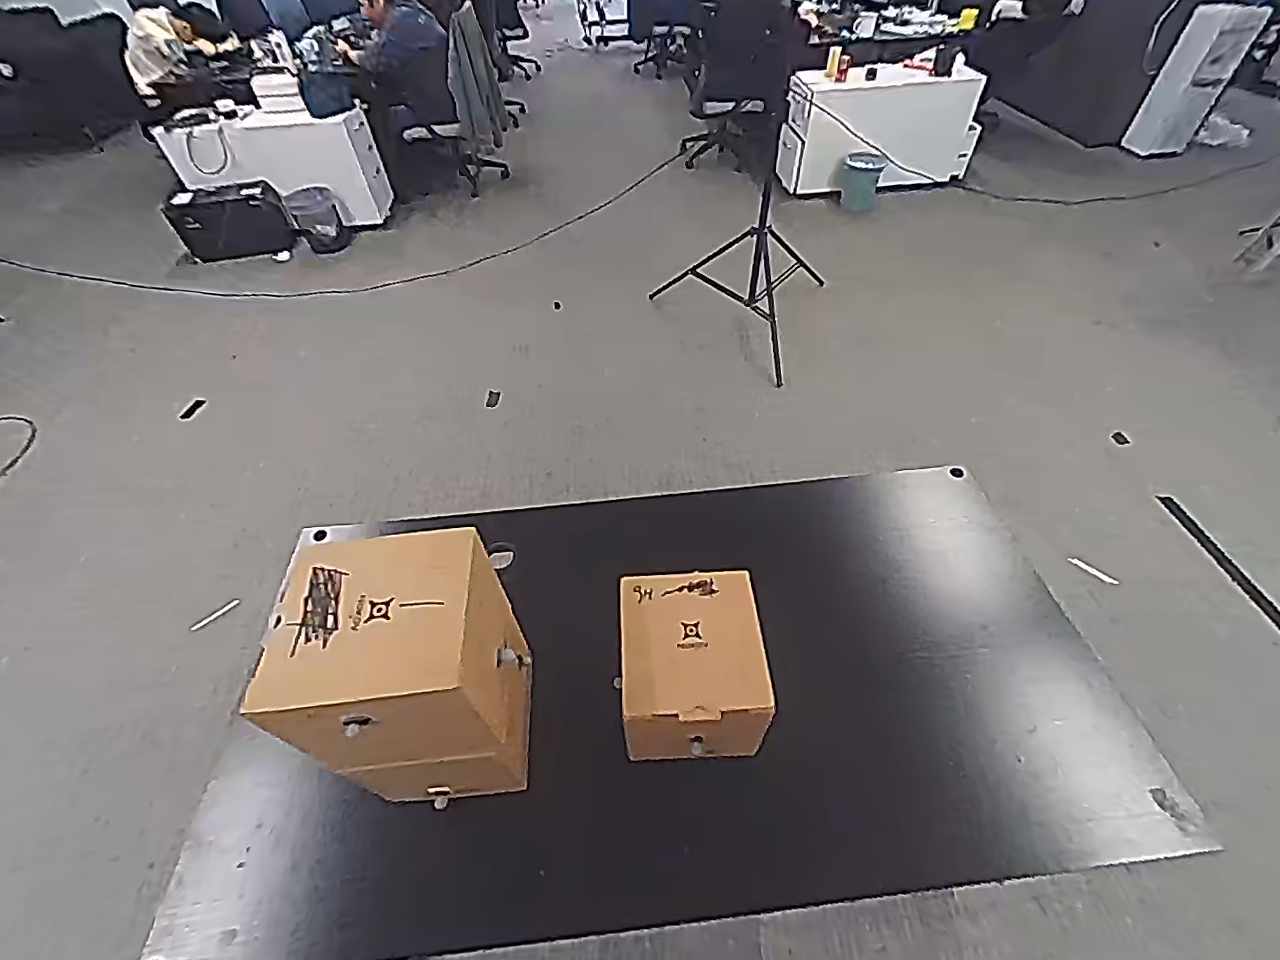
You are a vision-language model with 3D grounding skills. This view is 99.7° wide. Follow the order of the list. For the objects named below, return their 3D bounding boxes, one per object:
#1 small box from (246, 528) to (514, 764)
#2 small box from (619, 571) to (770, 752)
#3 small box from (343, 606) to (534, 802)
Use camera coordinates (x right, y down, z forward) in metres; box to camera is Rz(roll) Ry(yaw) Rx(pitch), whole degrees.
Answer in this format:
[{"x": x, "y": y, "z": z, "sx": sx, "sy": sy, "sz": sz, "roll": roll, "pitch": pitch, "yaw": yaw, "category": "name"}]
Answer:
[{"x": -0.237, "y": 0.171, "z": 0.548, "sx": 0.179, "sy": 0.176, "sz": 0.168, "roll": -6, "pitch": 49, "yaw": -3, "category": "small box"}, {"x": 0.062, "y": 0.238, "z": 0.694, "sx": 0.168, "sy": 0.176, "sz": 0.179, "roll": -3, "pitch": 49, "yaw": 0, "category": "small box"}, {"x": -0.231, "y": 0.278, "z": 0.673, "sx": 0.168, "sy": 0.176, "sz": 0.179, "roll": -6, "pitch": 50, "yaw": -2, "category": "small box"}]
